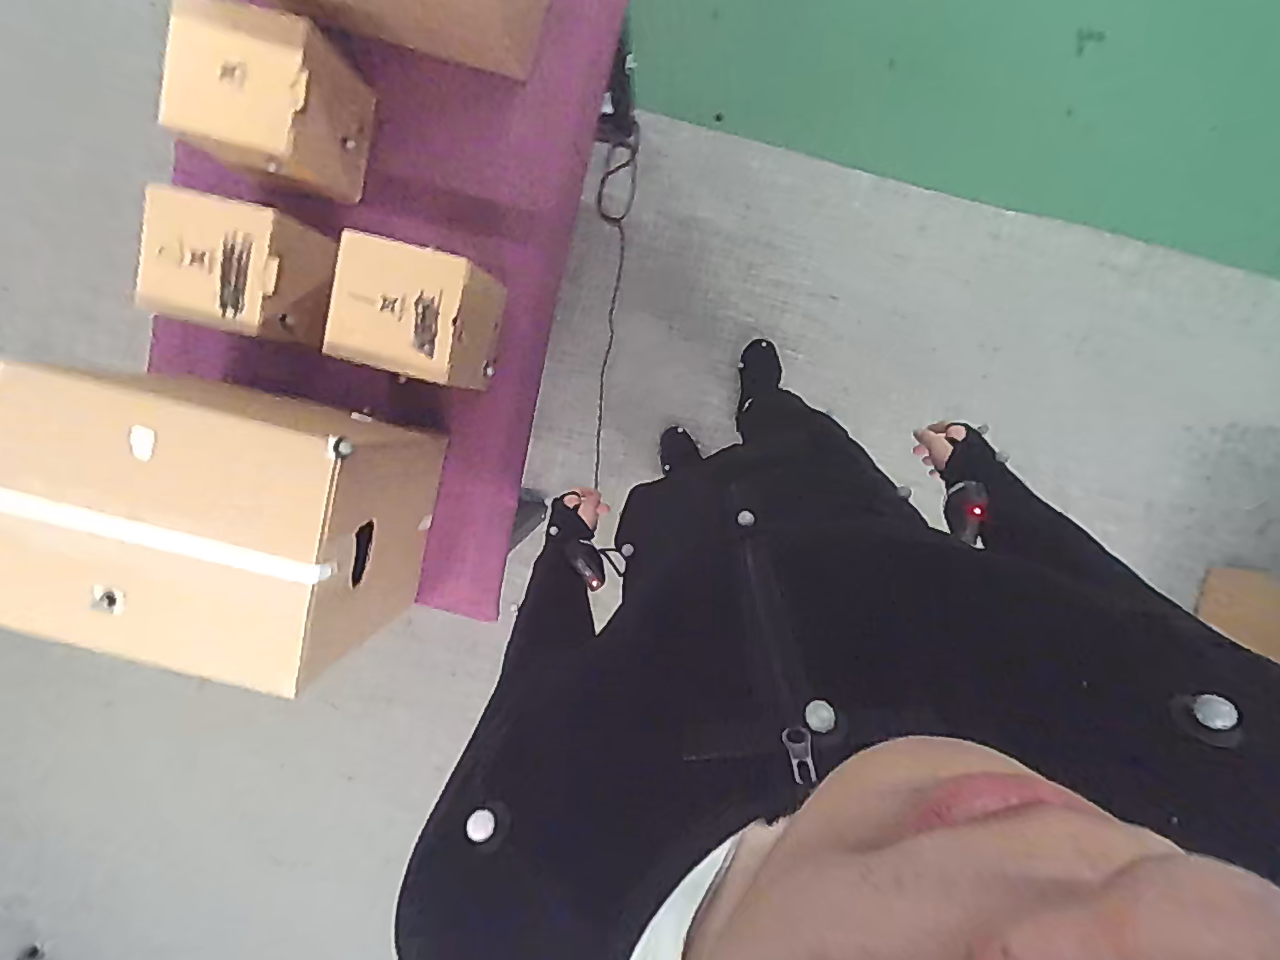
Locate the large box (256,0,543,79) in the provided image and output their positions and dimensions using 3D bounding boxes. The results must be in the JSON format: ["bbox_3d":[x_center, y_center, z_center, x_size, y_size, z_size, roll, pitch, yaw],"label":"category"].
[{"bbox_3d":[-0.333,-0.777,0.656,0.408,0.320,0.320,14,98,0],"label":"large box"}]
